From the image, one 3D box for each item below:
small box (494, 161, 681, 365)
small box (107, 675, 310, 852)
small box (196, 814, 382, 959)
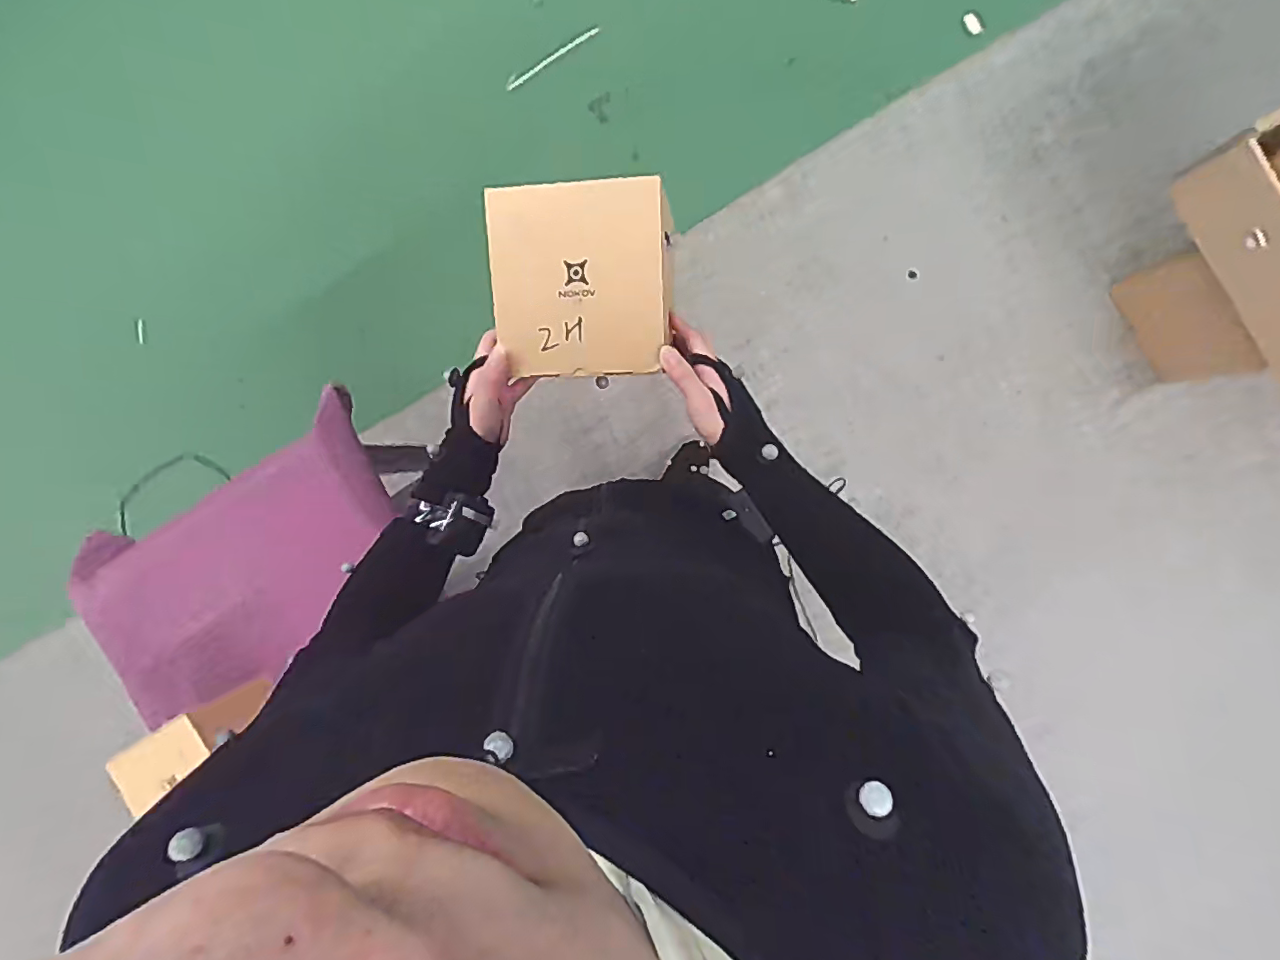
[{"bbox_3d":[-0.043,-0.214,0.579,0.168,0.176,0.179,0,104,7],"label":"small box"},{"bbox_3d":[-0.718,0.469,0.919,0.179,0.176,0.168,-32,90,6],"label":"small box"},{"bbox_3d":[-0.573,0.714,0.913,0.179,0.176,0.168,-32,89,8],"label":"small box"}]
